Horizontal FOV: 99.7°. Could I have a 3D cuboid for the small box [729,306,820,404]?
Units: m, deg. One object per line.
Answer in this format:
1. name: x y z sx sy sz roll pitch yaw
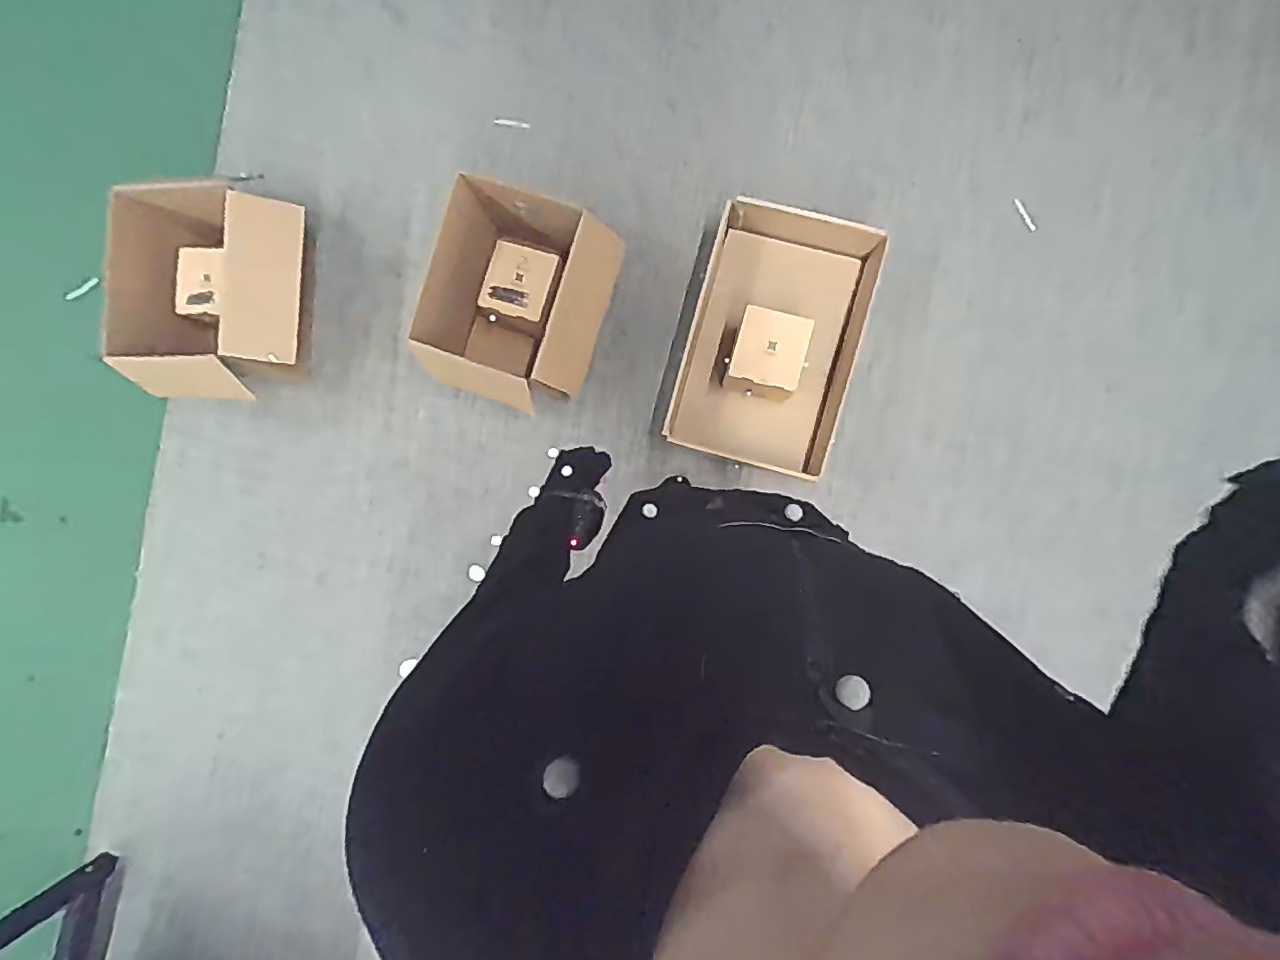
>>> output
1. small box: 0.323 -0.303 1.339 0.168 0.176 0.179 15 90 4
